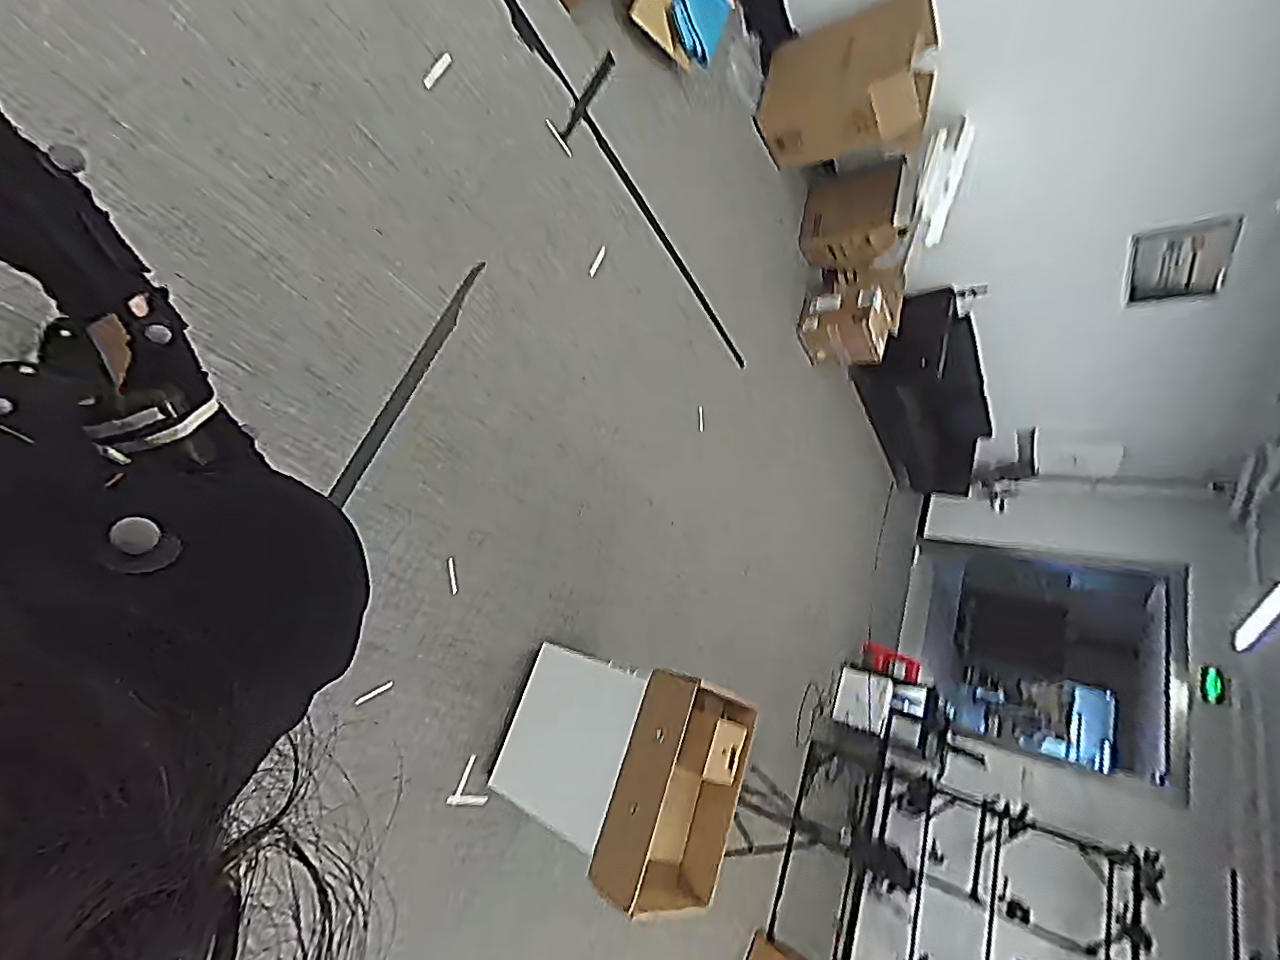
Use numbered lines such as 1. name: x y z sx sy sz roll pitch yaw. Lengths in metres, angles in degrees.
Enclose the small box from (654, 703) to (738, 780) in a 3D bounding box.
1. small box: 0.176 0.818 1.700 0.179 0.176 0.168 38 64 -40
